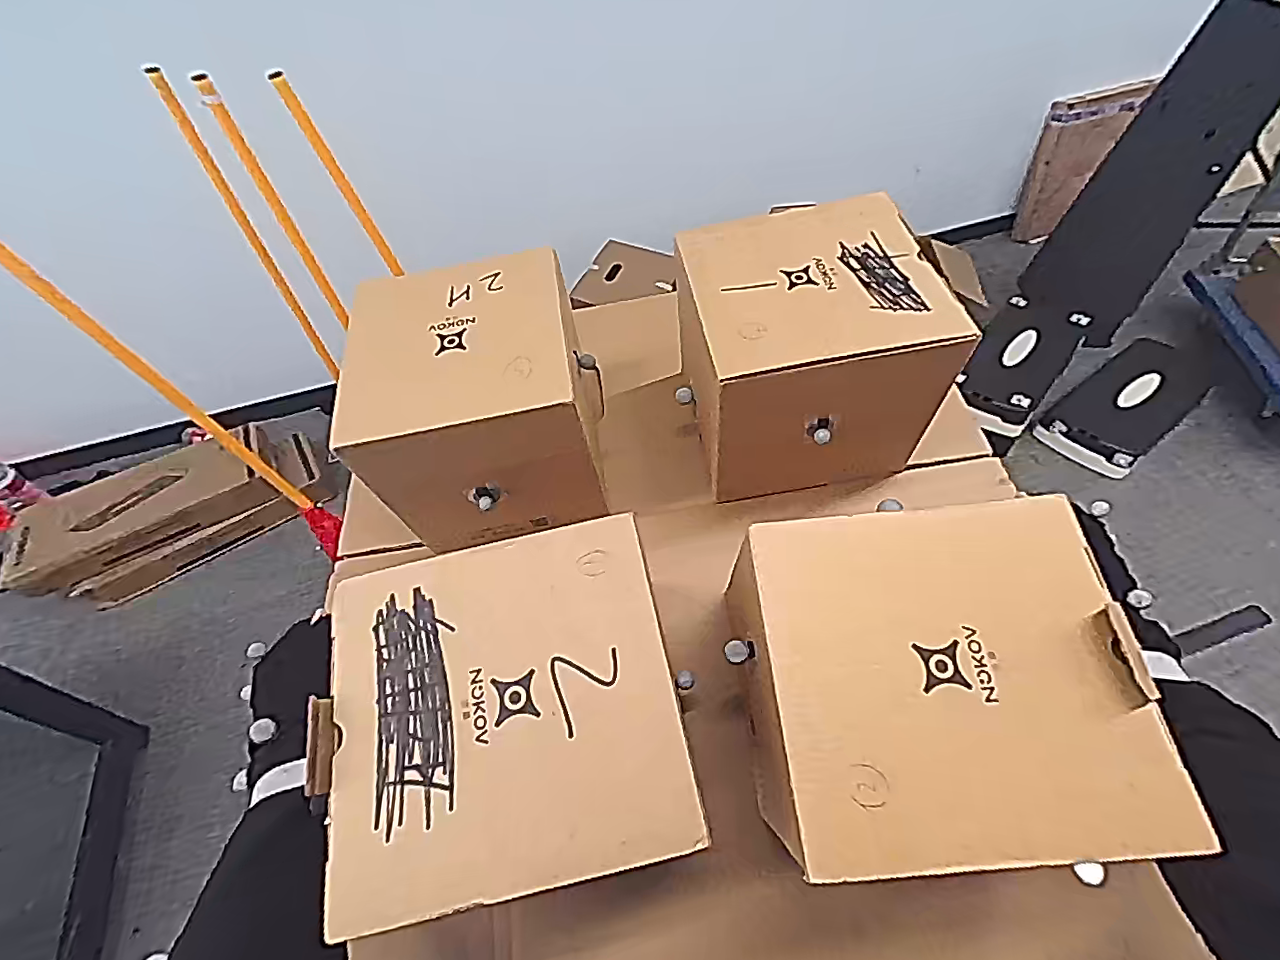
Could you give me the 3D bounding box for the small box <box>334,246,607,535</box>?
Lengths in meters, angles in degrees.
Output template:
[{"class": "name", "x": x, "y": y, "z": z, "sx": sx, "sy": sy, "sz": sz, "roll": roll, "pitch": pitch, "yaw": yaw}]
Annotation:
[{"class": "small box", "x": -0.127, "y": -0.065, "z": 0.469, "sx": 0.168, "sy": 0.176, "sz": 0.179, "roll": -10, "pitch": 57, "yaw": 1}]
